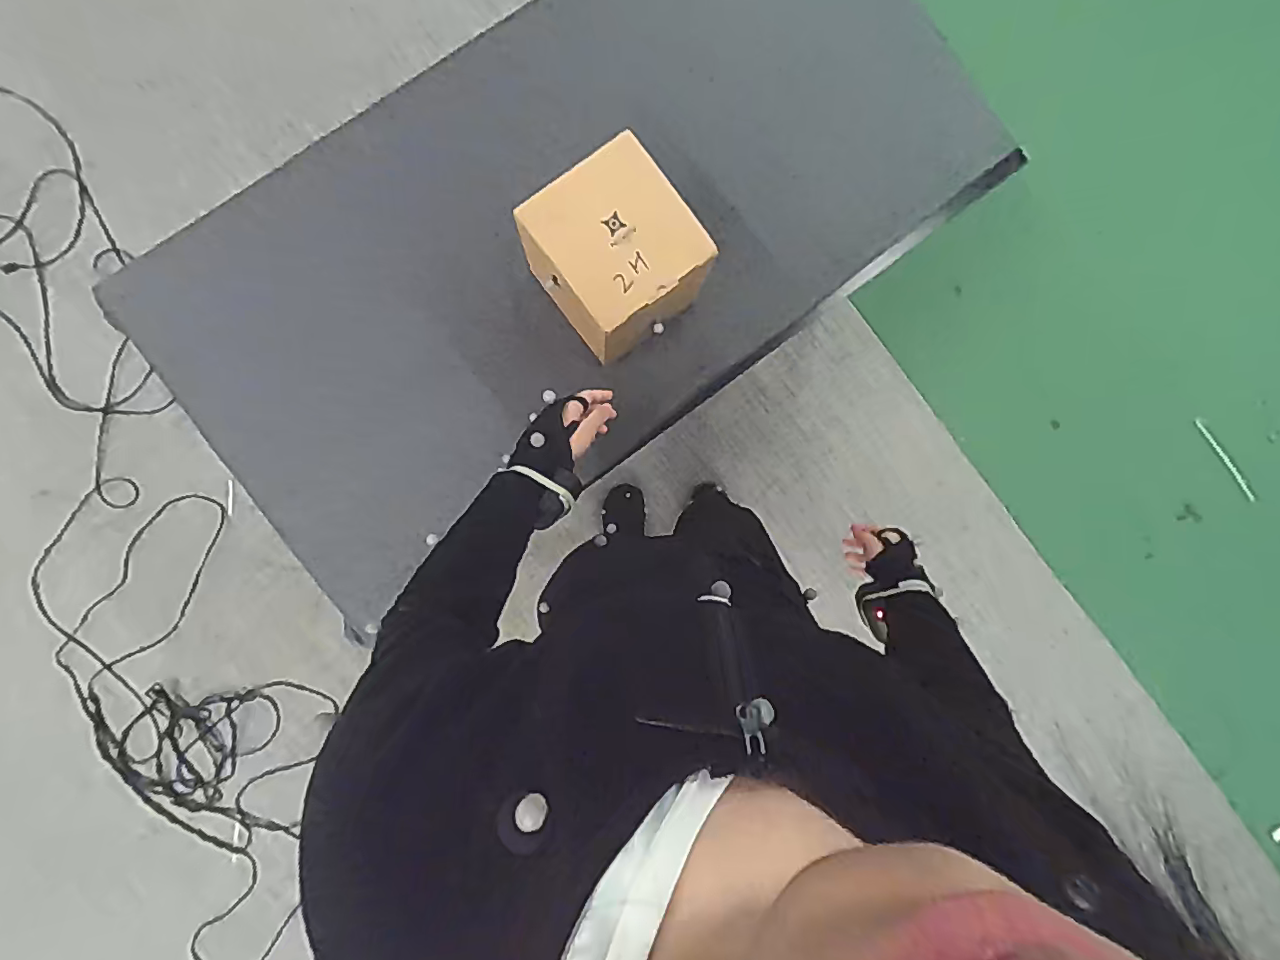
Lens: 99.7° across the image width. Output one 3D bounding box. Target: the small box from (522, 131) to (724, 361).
[{"bbox_3d":[-0.024,-0.279,0.687,0.168,0.176,0.179,-38,91,-4],"label":"small box"}]
